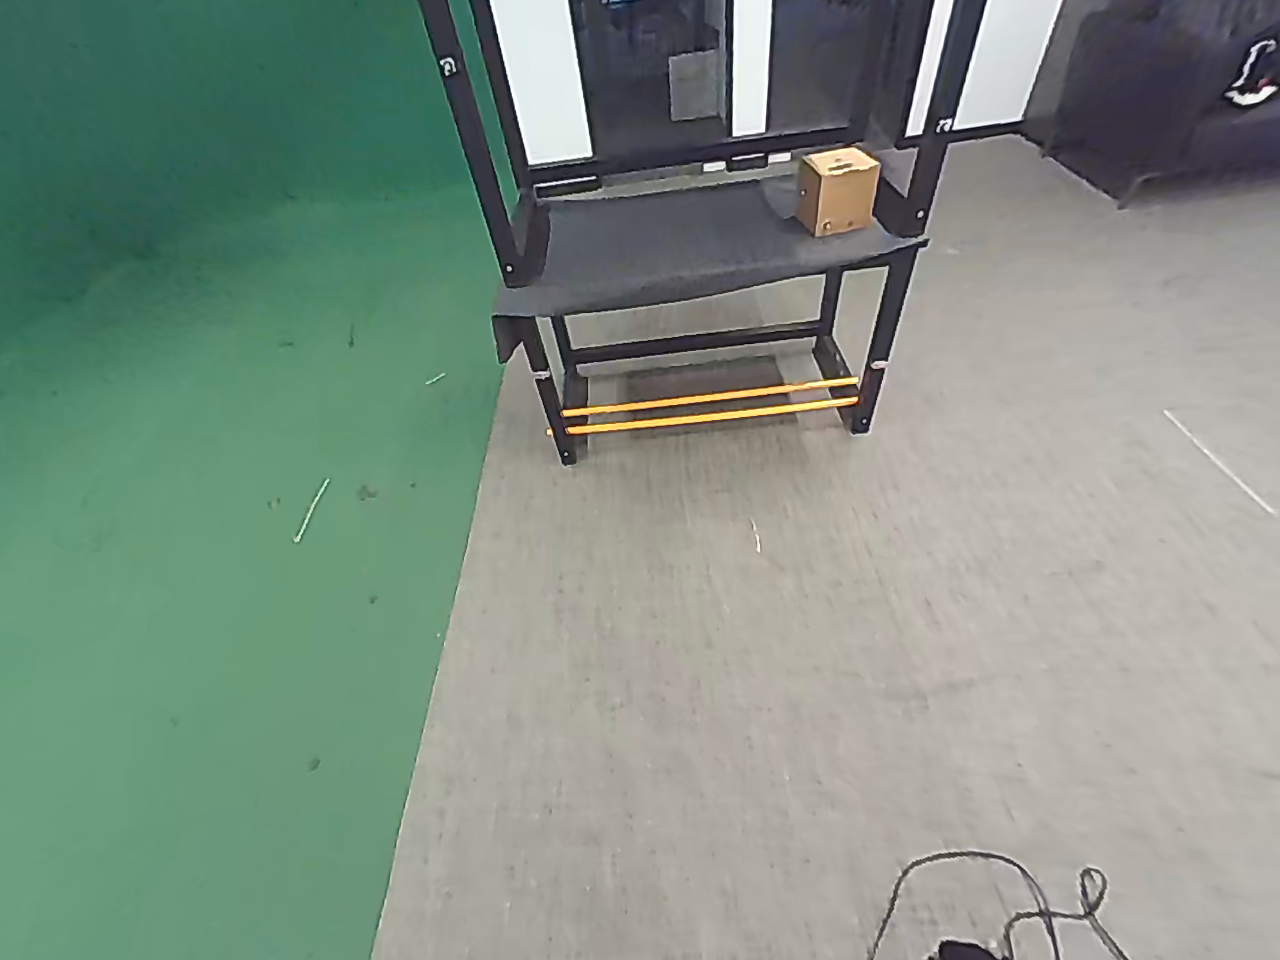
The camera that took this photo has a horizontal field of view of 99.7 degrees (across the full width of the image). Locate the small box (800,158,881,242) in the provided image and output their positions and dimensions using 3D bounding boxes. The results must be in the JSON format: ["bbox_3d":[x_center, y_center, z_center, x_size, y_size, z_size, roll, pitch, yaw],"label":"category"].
[{"bbox_3d":[0.581,-0.816,1.588,0.168,0.176,0.179,-11,45,-1],"label":"small box"}]
